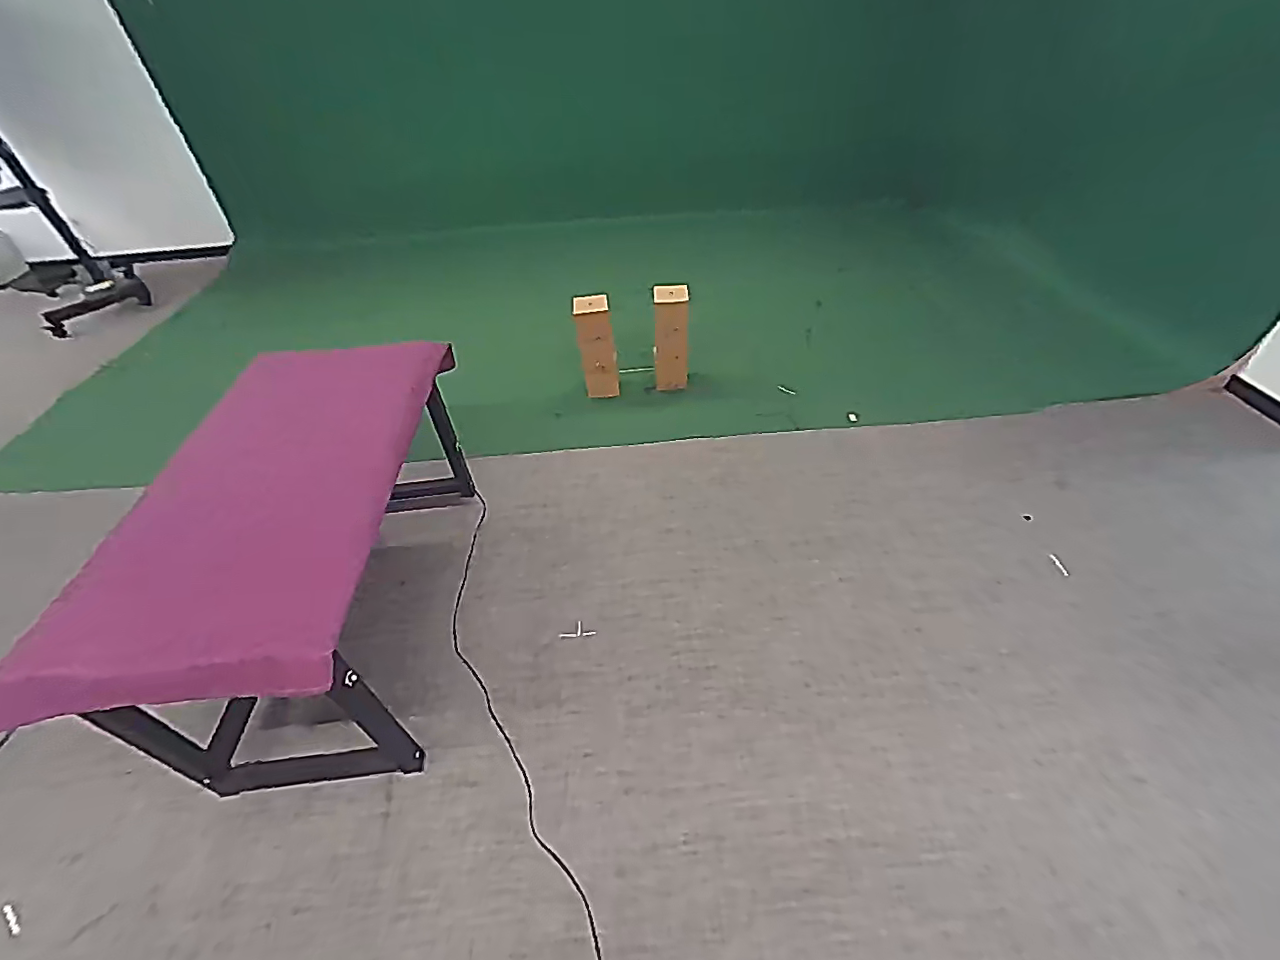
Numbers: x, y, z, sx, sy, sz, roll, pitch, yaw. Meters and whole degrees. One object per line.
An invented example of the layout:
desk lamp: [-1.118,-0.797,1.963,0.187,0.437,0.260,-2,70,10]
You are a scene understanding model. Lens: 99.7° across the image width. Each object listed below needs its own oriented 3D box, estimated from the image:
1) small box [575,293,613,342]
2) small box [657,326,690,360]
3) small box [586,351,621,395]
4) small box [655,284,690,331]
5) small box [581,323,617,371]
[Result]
small box: [-0.227,-0.795,2.650,0.168,0.176,0.179,-7,43,-1]
small box: [0.170,-0.737,2.789,0.168,0.176,0.179,-2,43,2]
small box: [-0.192,-0.565,2.880,0.168,0.176,0.179,-4,43,1]
small box: [0.159,-0.852,2.672,0.168,0.176,0.179,-2,45,2]
small box: [-0.210,-0.679,2.762,0.168,0.176,0.179,-7,44,-1]
